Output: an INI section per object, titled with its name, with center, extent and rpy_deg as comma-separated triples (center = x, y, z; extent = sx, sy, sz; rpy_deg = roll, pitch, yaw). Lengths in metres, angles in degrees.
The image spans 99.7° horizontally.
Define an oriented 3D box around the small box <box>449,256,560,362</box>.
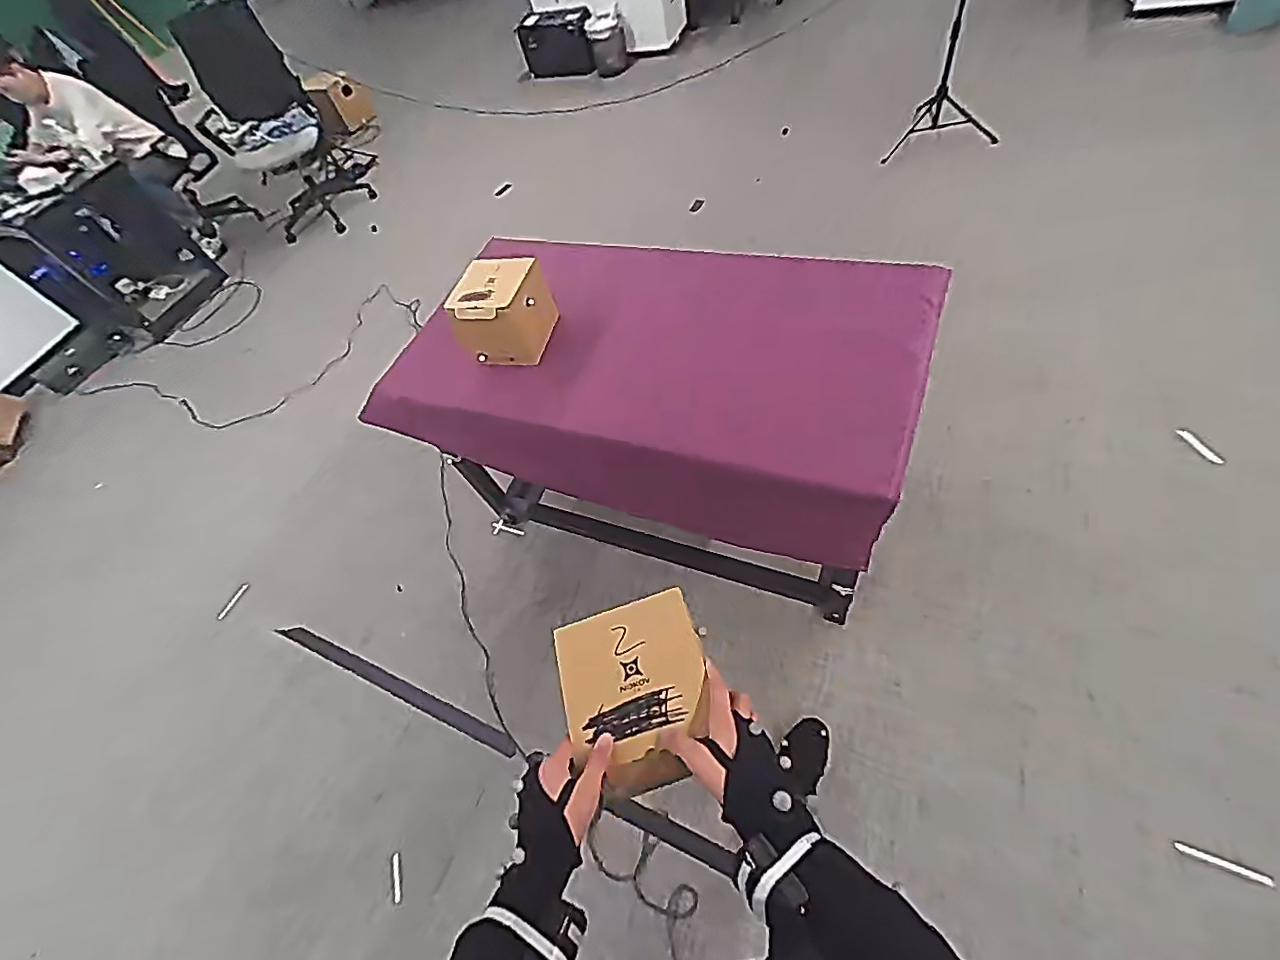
[small box]
center = -0.304, -0.393, 1.256
extent = 0.168, 0.176, 0.179
rpy_deg = 6, 58, 17
